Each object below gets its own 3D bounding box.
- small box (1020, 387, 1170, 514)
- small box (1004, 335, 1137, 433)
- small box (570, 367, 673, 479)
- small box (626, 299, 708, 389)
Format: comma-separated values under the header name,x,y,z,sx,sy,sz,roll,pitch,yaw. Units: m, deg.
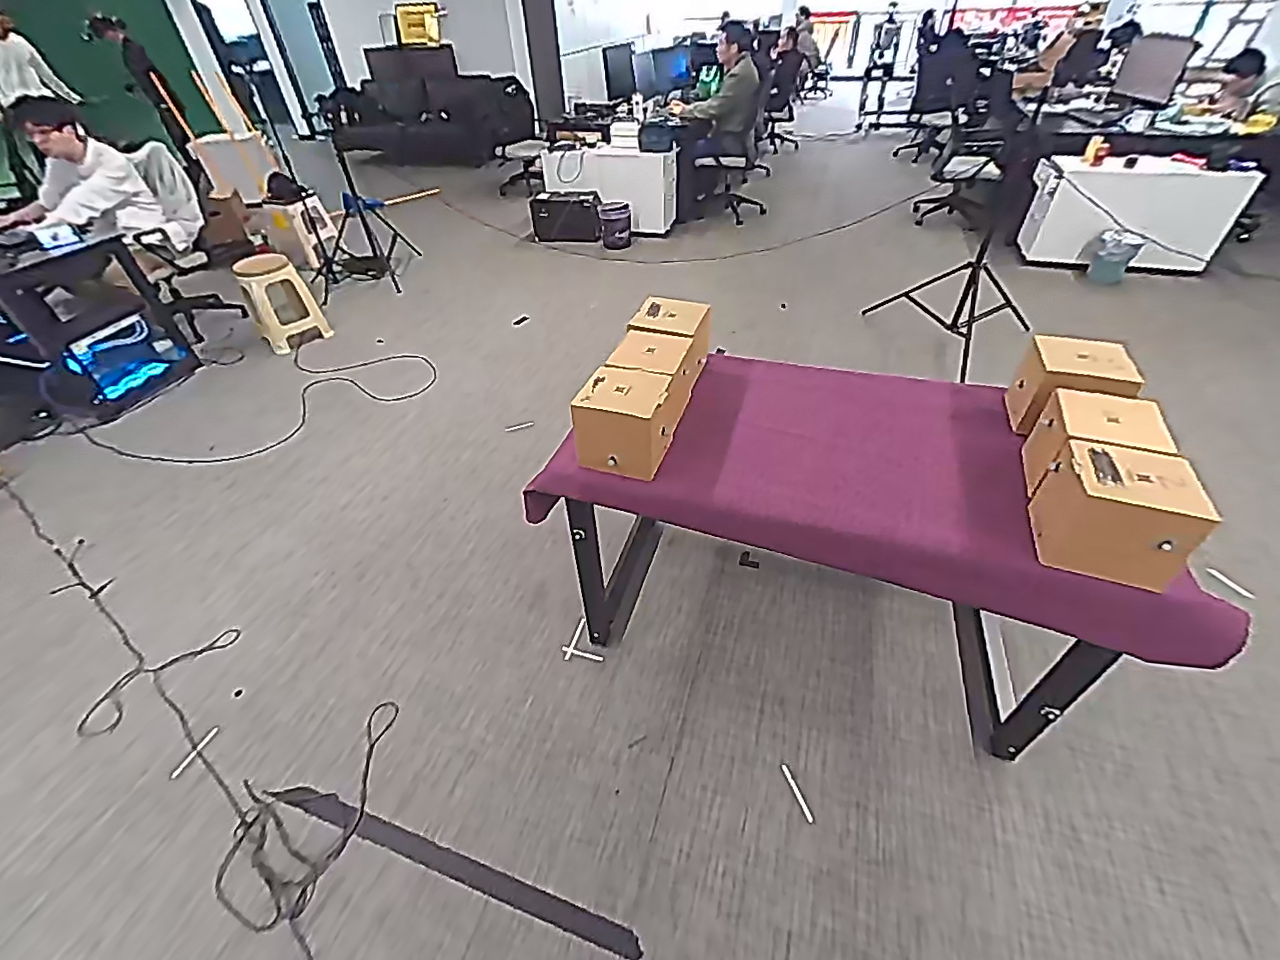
name,x,y,z,sx,sy,sz,roll,pitch,yaw
small box,0.885,-0.058,1.073,0.168,0.176,0.179,14,44,19
small box,0.955,-0.207,1.224,0.179,0.176,0.168,12,45,15
small box,-0.035,-0.123,1.190,0.179,0.176,0.168,13,43,15
small box,0.074,-0.362,1.447,0.179,0.176,0.168,13,46,15
